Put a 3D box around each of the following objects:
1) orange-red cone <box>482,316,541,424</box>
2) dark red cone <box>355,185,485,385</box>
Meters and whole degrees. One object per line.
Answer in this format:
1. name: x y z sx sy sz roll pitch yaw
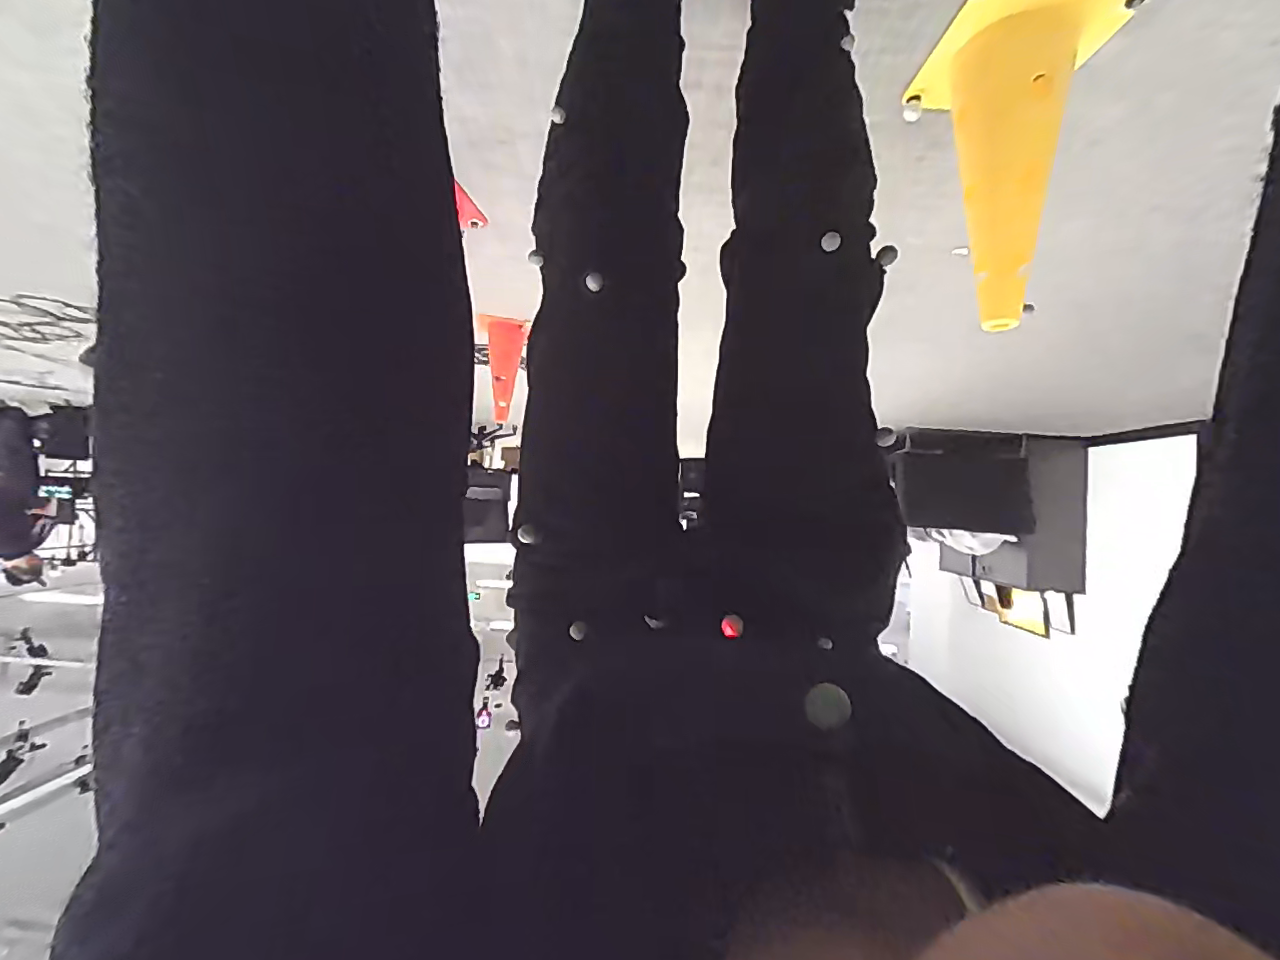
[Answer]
1. orange-red cone: -0.480 -0.382 1.947 0.199 0.360 0.198 5 176 -17
2. dark red cone: -0.461 -0.389 1.112 0.202 0.394 0.201 3 175 10
